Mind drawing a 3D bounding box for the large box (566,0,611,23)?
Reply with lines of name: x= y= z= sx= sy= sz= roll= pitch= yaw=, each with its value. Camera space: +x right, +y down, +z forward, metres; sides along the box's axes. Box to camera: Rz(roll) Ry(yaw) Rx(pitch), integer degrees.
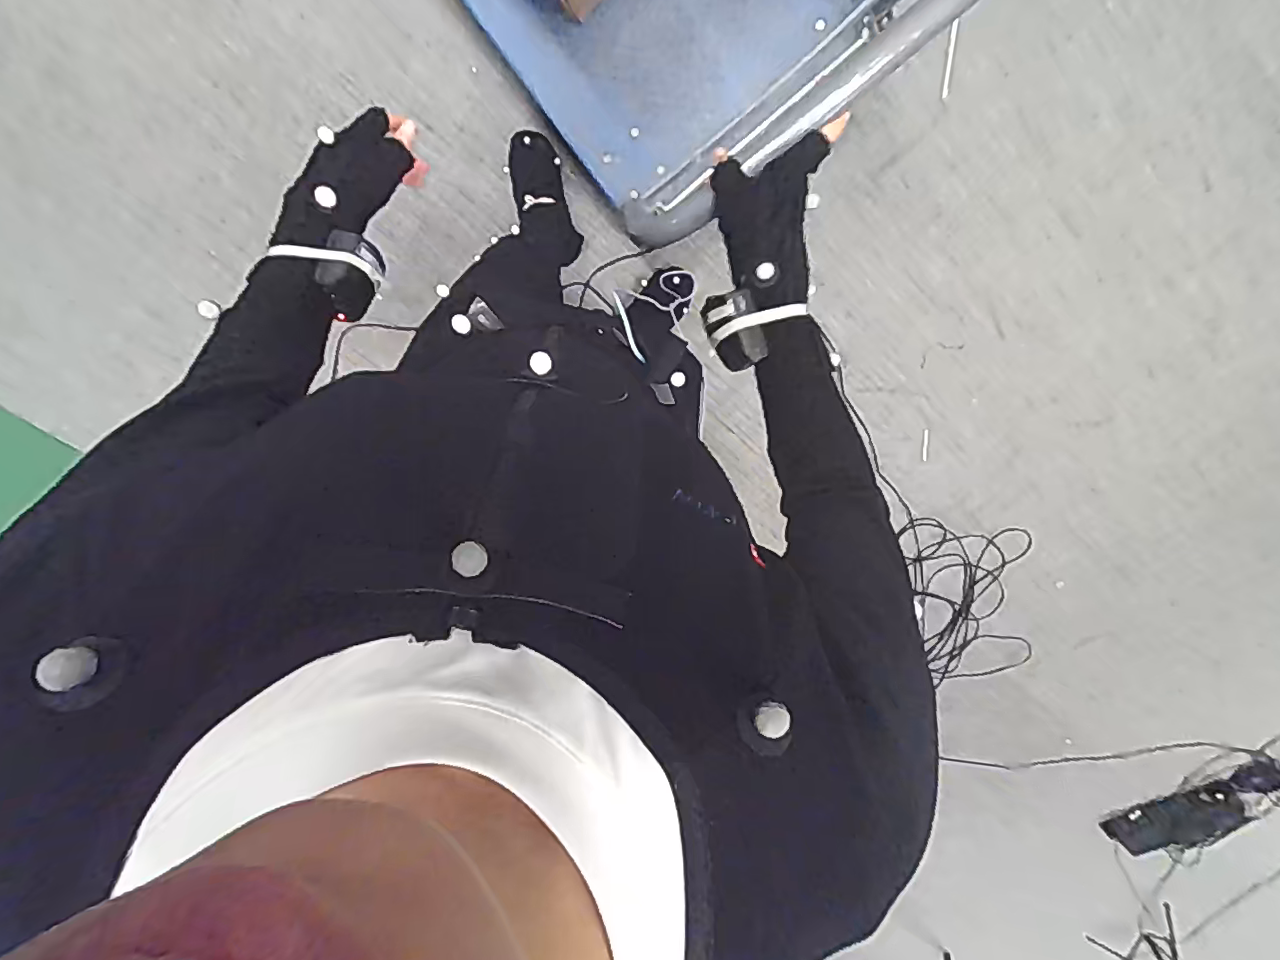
large box: x=-0.049 y=-0.943 z=0.710 sx=0.408 sy=0.320 sz=0.320 roll=-36 pitch=111 yaw=21
